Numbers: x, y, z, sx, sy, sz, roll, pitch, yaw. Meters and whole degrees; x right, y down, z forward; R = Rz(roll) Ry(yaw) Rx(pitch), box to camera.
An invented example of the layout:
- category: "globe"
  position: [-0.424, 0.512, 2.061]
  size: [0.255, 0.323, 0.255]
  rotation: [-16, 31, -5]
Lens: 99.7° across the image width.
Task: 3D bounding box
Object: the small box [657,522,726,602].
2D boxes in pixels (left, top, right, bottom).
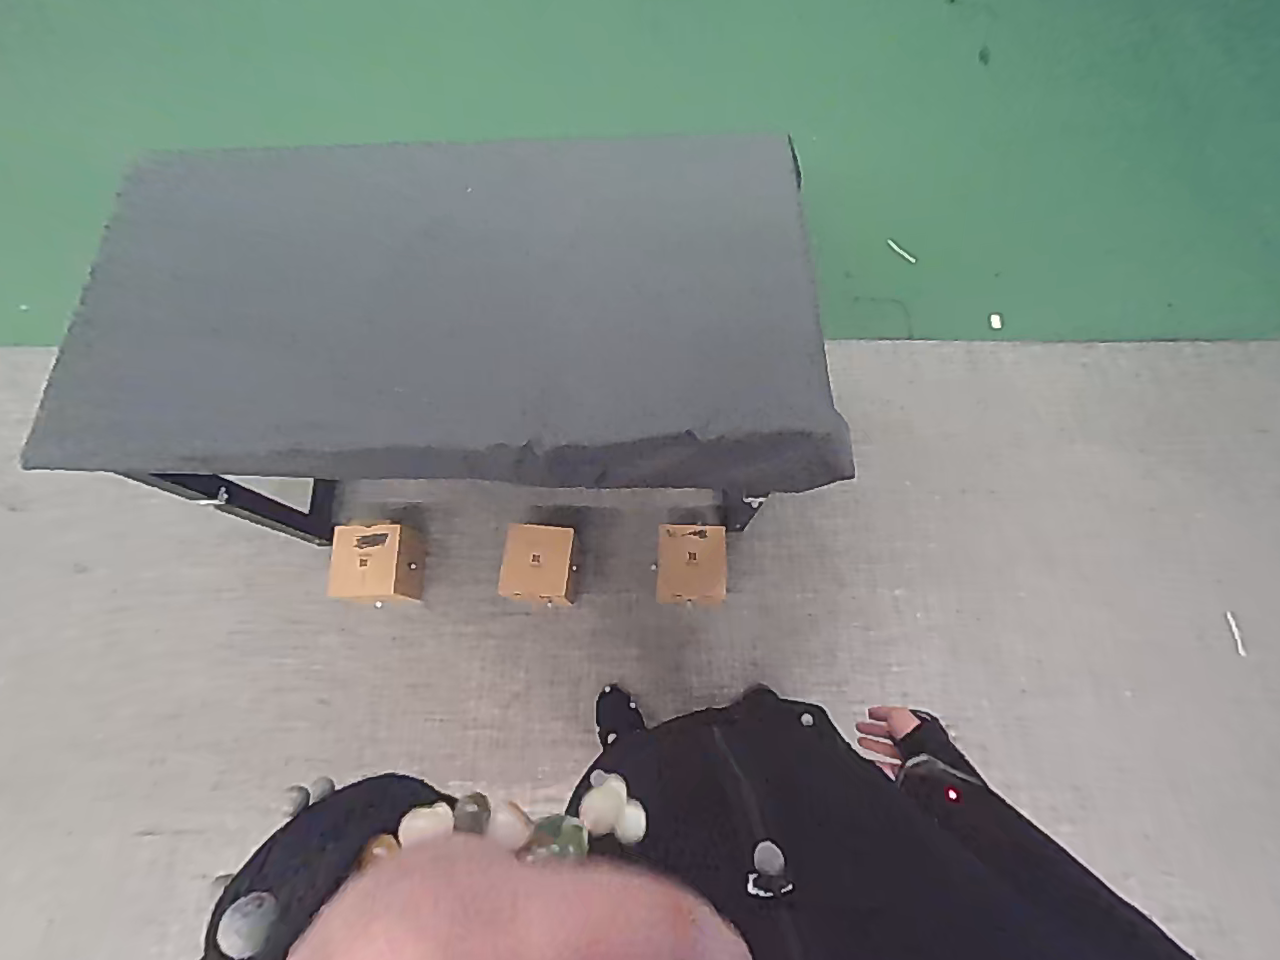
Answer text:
- category: "small box"
  position: [0.129, 0.215, 1.384]
  size: [0.168, 0.176, 0.179]
  rotation: [2, 71, 2]

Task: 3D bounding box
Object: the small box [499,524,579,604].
- category: "small box"
  position: [-0.250, 0.220, 1.387]
  size: [0.168, 0.176, 0.179]
  rotation: [4, 71, 0]

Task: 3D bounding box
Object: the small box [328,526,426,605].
- category: "small box"
  position: [-0.664, 0.223, 1.388]
  size: [0.168, 0.176, 0.179]
  rotation: [-2, 73, 0]
